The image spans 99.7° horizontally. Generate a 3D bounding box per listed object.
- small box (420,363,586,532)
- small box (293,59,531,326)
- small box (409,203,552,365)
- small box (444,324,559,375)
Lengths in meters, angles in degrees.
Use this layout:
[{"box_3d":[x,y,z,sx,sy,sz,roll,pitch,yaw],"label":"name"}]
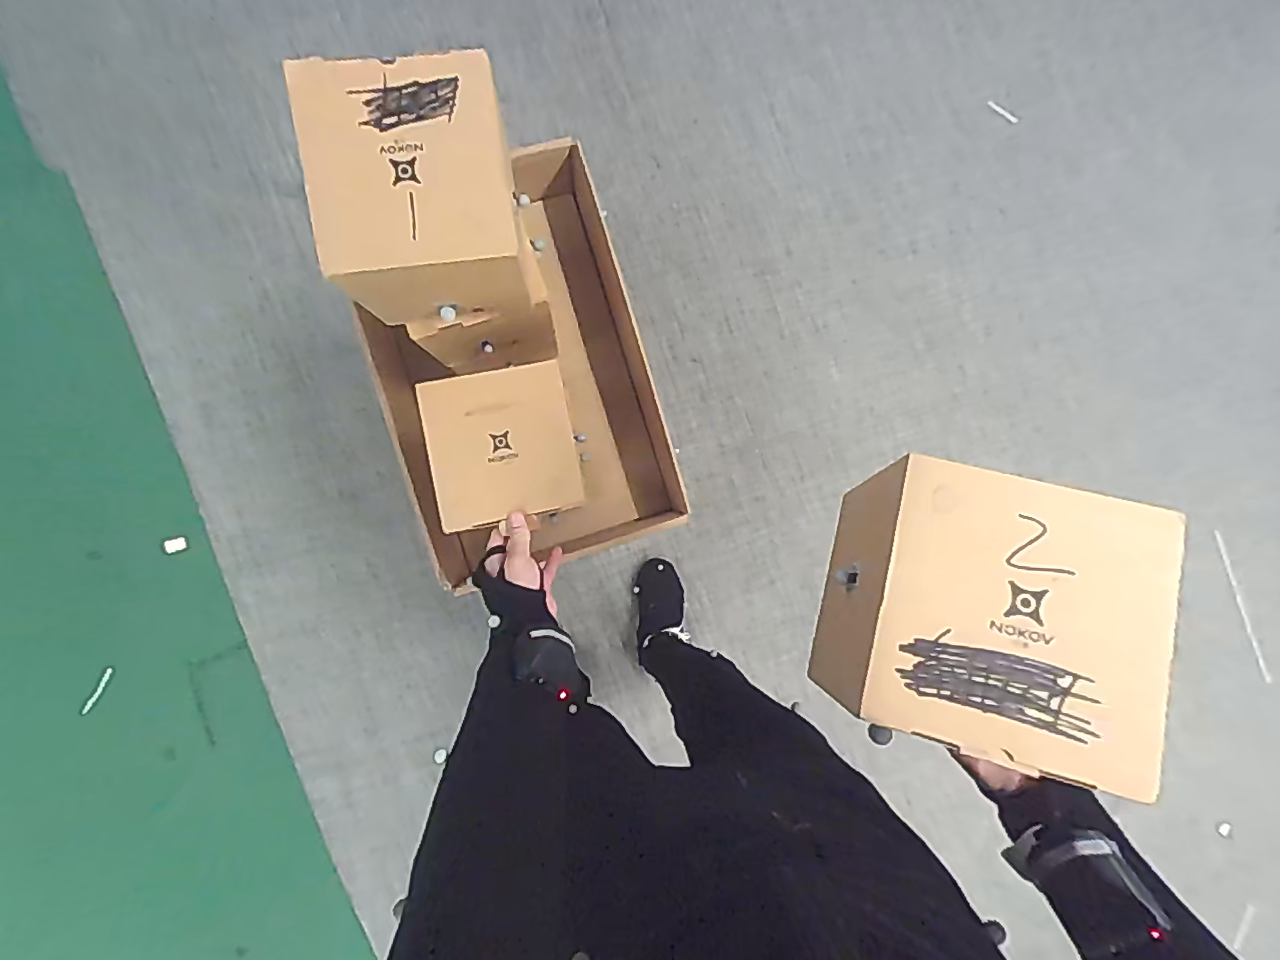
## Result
[{"box_3d":[-0.164,-0.036,0.702,0.168,0.176,0.179,-10,87,-6],"label":"small box"},{"box_3d":[-0.207,-0.269,0.540,0.168,0.176,0.179,-9,93,-6],"label":"small box"},{"box_3d":[-0.219,-0.268,0.704,0.168,0.176,0.179,-18,93,-6],"label":"small box"},{"box_3d":[-0.234,-0.274,0.864,0.168,0.176,0.179,-17,94,-5],"label":"small box"}]
